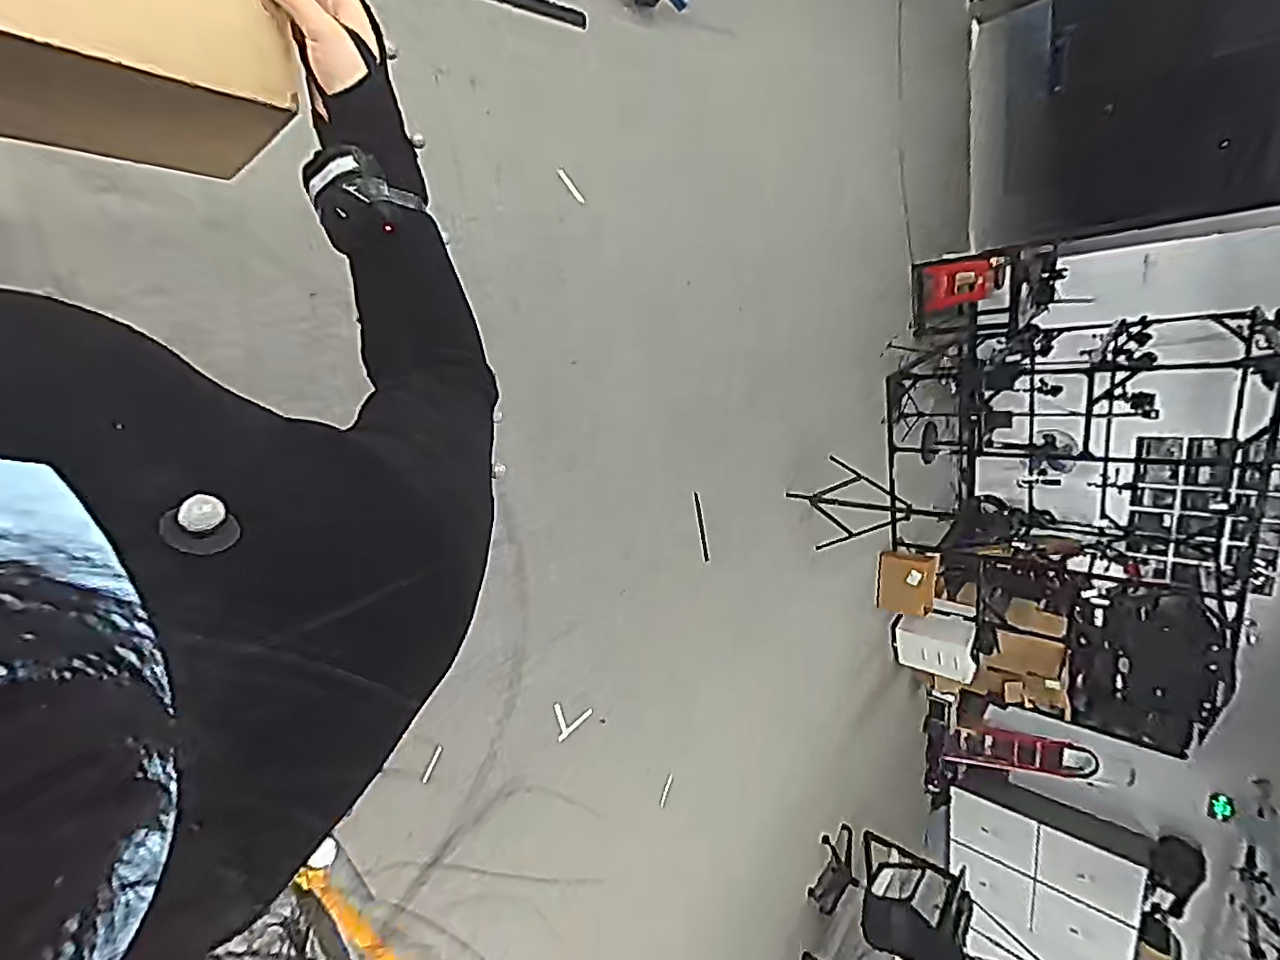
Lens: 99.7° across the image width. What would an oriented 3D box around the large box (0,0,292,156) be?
[{"bbox_3d":[-0.509,-0.451,0.354,0.408,0.320,0.320,-11,110,-42],"label":"large box"}]
